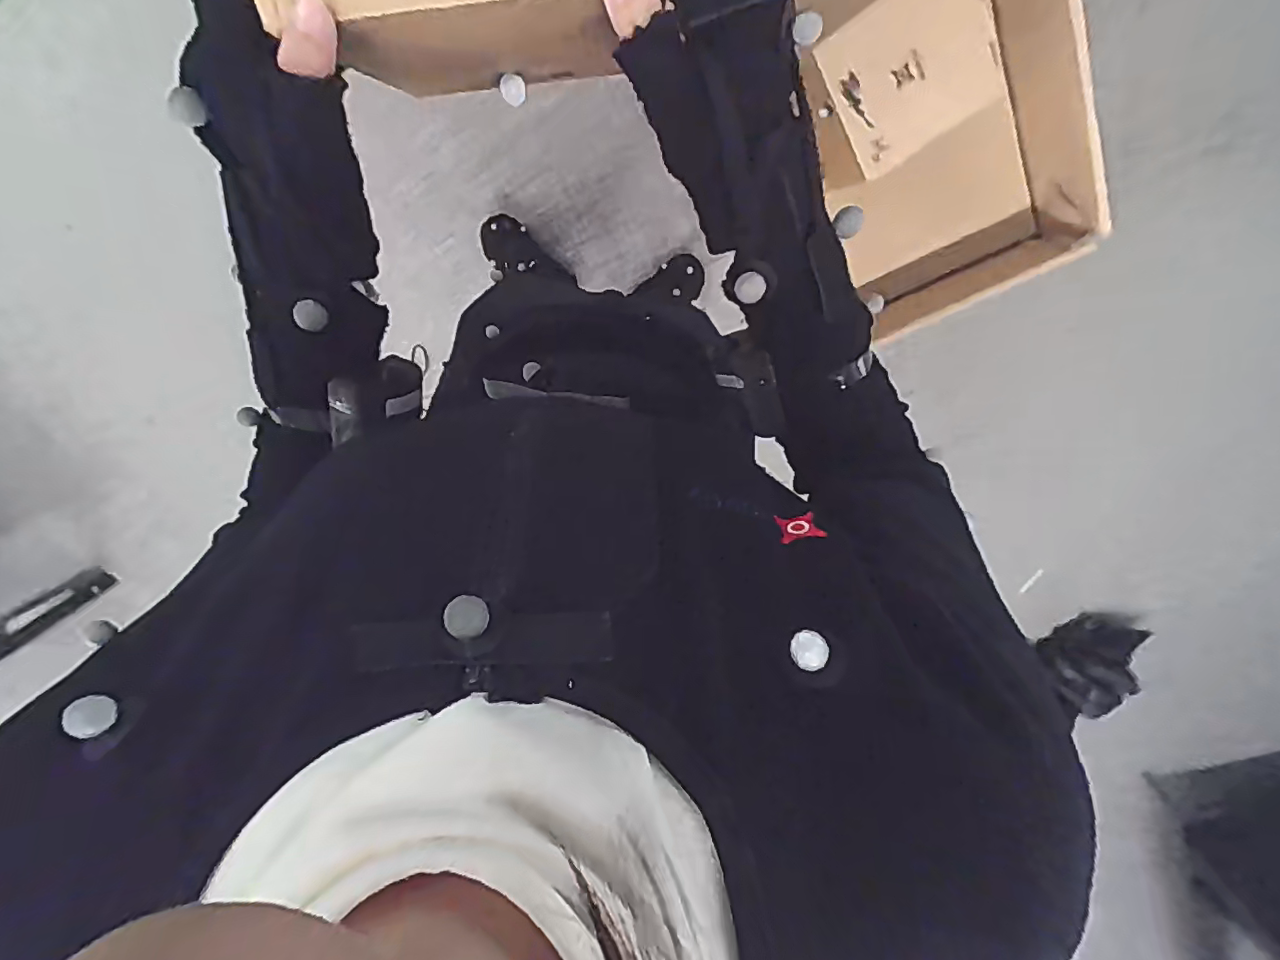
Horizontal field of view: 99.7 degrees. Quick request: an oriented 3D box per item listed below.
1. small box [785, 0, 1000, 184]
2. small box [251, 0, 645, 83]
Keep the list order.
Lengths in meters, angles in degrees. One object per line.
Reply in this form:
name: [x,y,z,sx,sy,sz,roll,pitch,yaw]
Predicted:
small box: [0.314,-0.517,0.704,0.179,0.176,0.168,-29,109,14]
small box: [-0.086,-0.309,0.245,0.168,0.176,0.179,-5,118,3]
